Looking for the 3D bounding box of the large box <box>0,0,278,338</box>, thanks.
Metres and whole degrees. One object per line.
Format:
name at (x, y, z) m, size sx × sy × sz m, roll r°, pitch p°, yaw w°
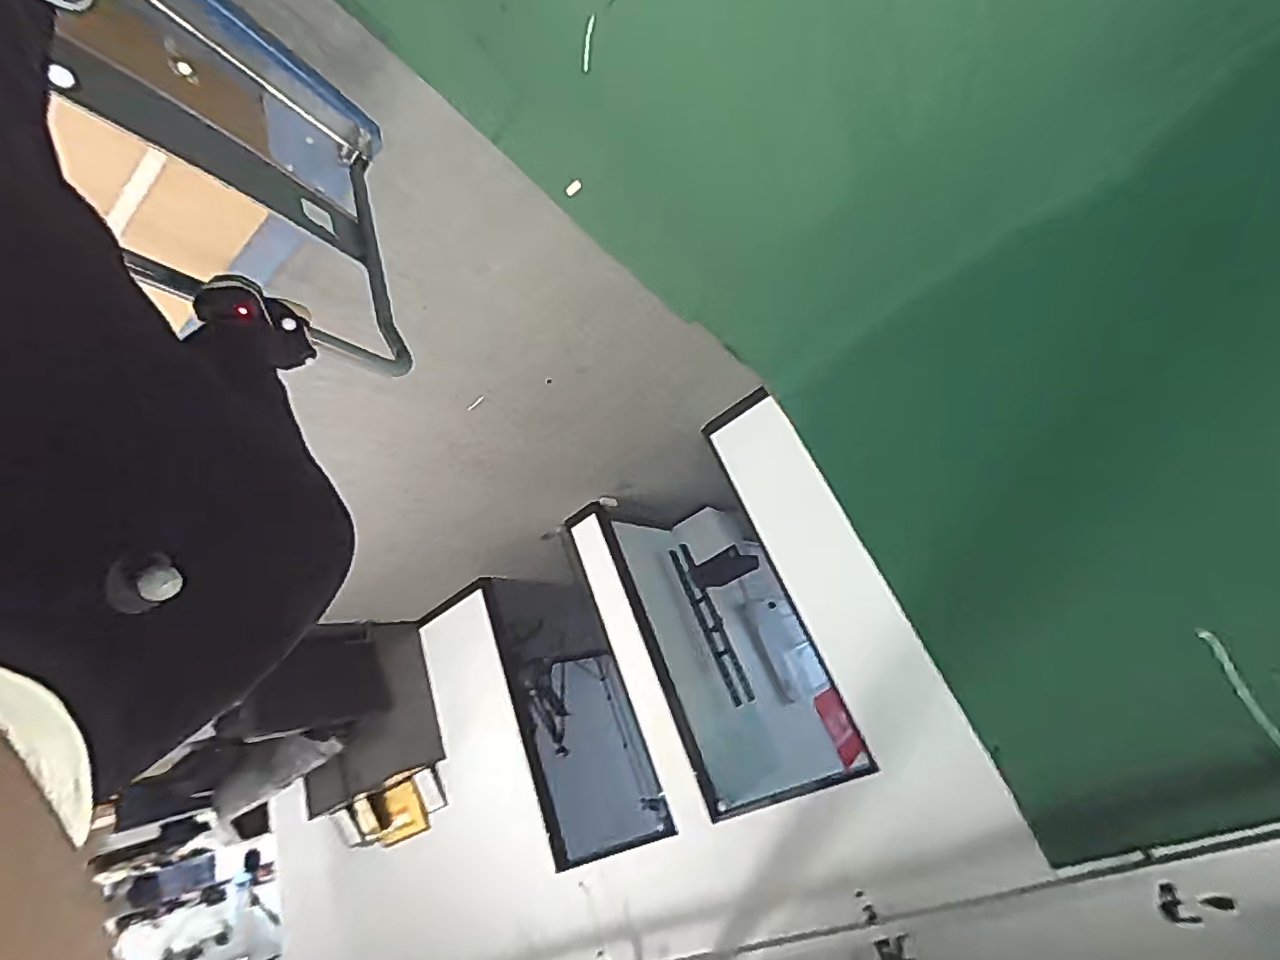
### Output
large box at (-0.911, -0.537, 0.948) m, size 0.408 × 0.320 × 0.320 m, roll -33°, pitch 154°, yaw 22°
